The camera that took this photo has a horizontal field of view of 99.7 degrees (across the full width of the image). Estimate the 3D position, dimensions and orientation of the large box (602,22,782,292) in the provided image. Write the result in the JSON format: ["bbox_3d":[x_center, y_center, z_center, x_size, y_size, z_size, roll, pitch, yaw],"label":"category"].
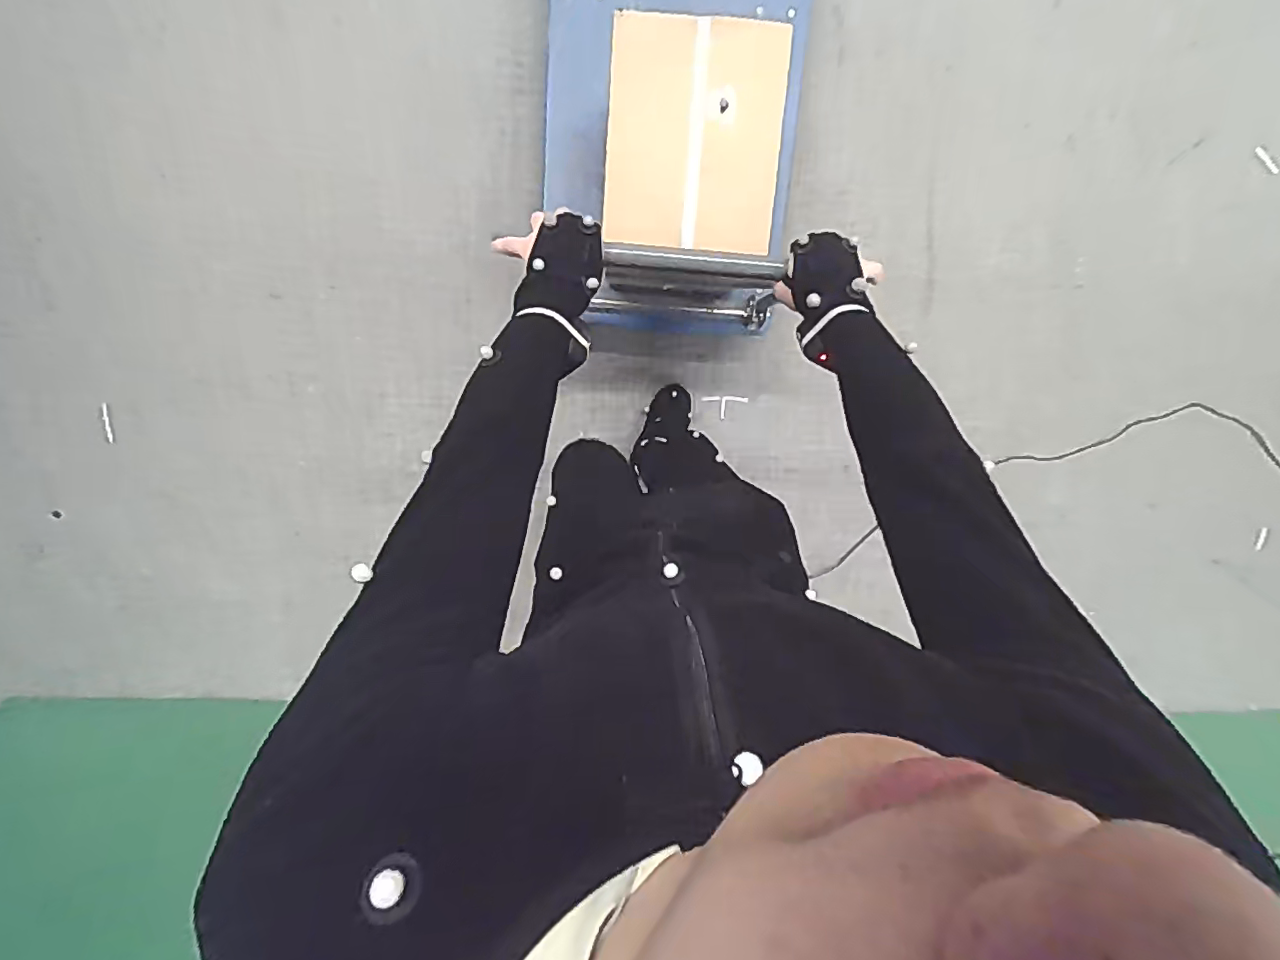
[{"bbox_3d":[0.090,-0.626,1.129,0.320,0.320,0.408,3,100,-2],"label":"large box"}]
